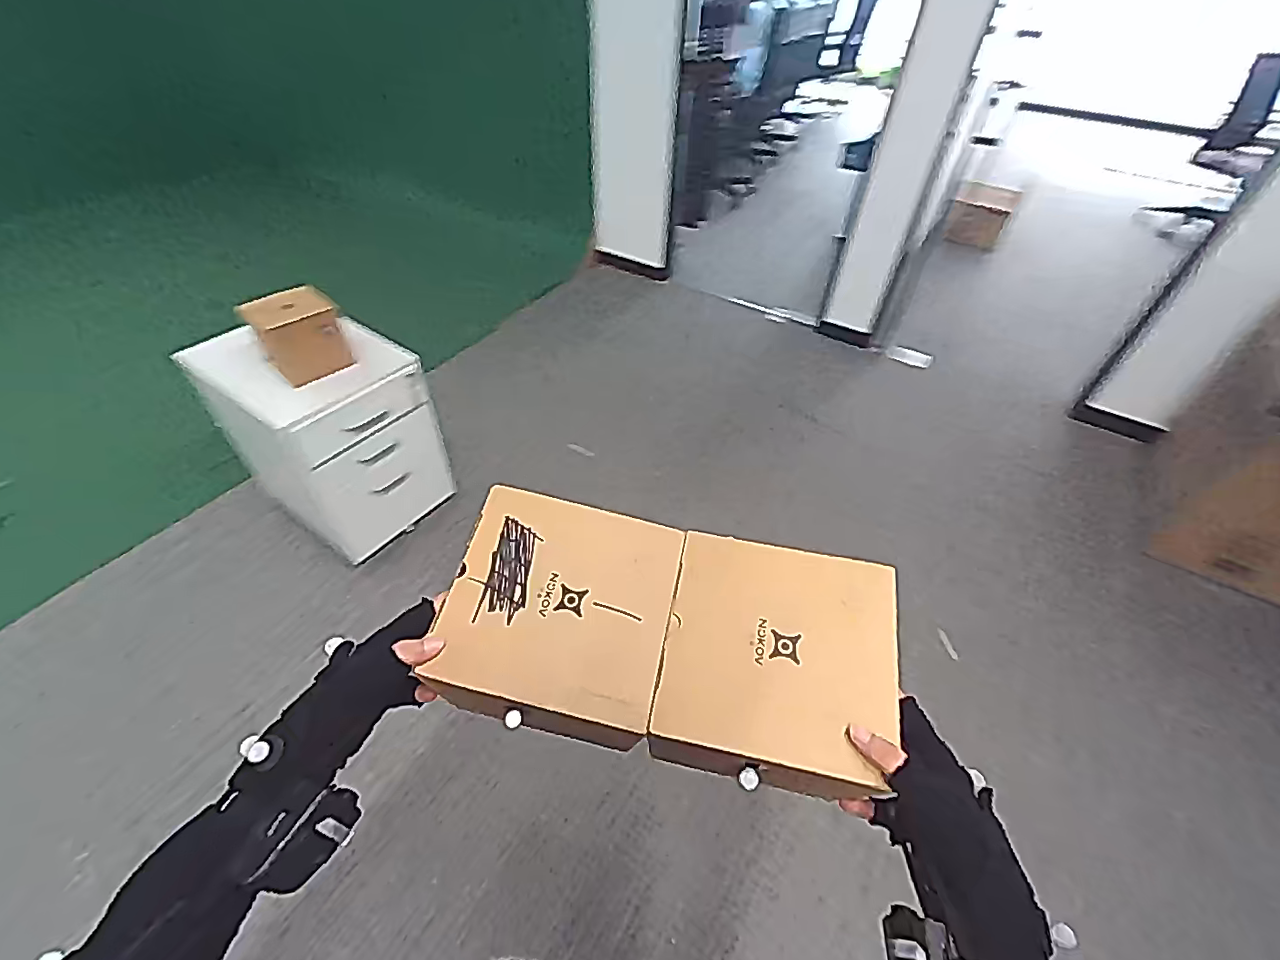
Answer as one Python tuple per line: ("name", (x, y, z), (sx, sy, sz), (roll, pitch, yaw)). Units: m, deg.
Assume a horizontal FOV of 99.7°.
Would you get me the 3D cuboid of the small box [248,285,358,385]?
("small box", (-0.870, -0.379, 1.416), (0.168, 0.176, 0.179), (35, 54, 28))
